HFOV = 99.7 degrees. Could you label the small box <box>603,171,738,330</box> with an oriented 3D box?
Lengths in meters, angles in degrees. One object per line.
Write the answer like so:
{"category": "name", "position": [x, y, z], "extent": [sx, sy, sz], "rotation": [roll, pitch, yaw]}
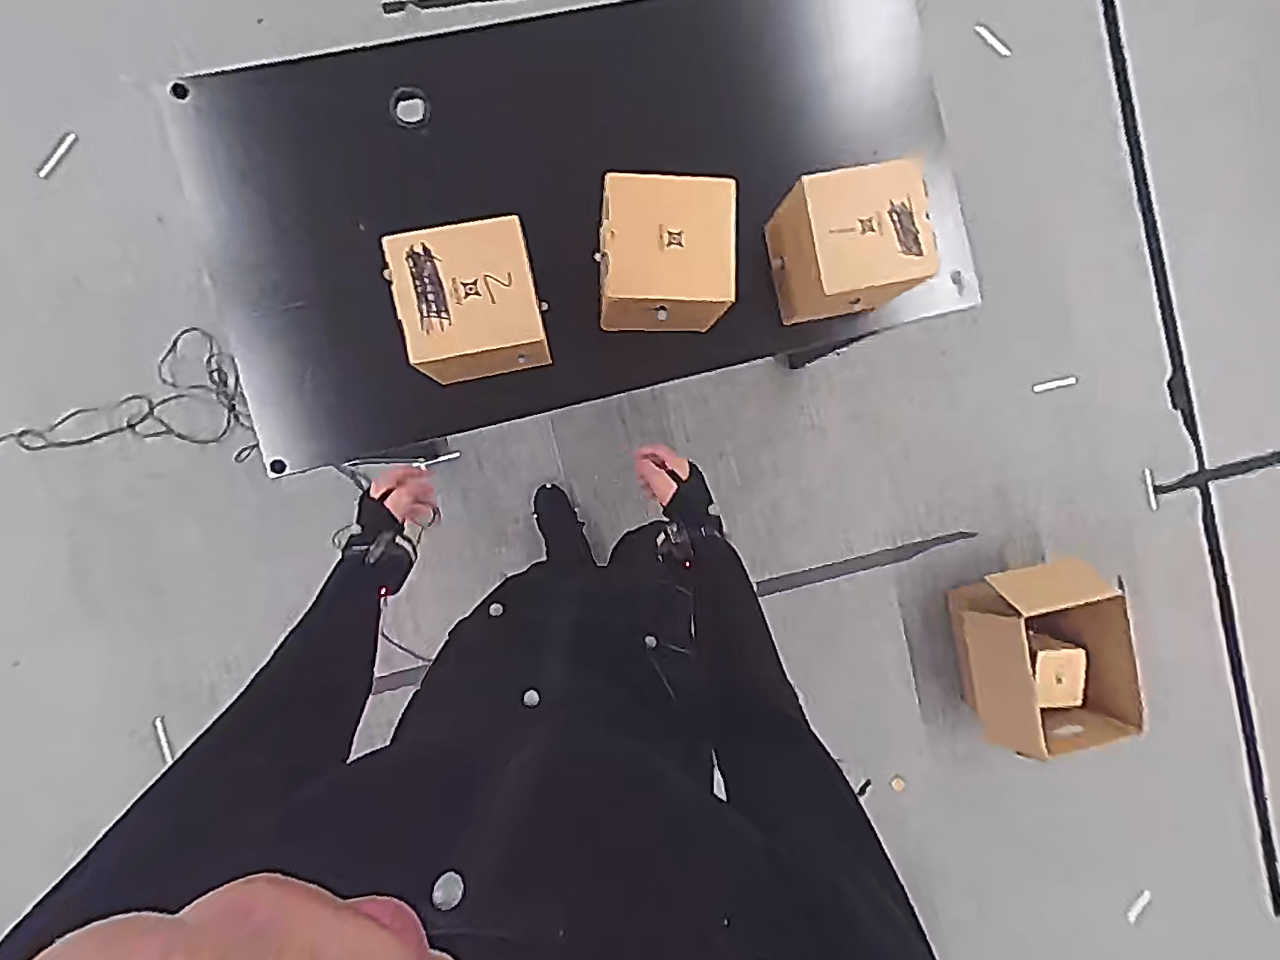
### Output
{"category": "small box", "position": [0.036, -0.324, 0.794], "extent": [0.179, 0.176, 0.168], "rotation": [-1, 91, -5]}

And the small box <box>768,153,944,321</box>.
{"category": "small box", "position": [0.315, -0.354, 0.816], "extent": [0.179, 0.176, 0.168], "rotation": [-12, 92, -3]}
